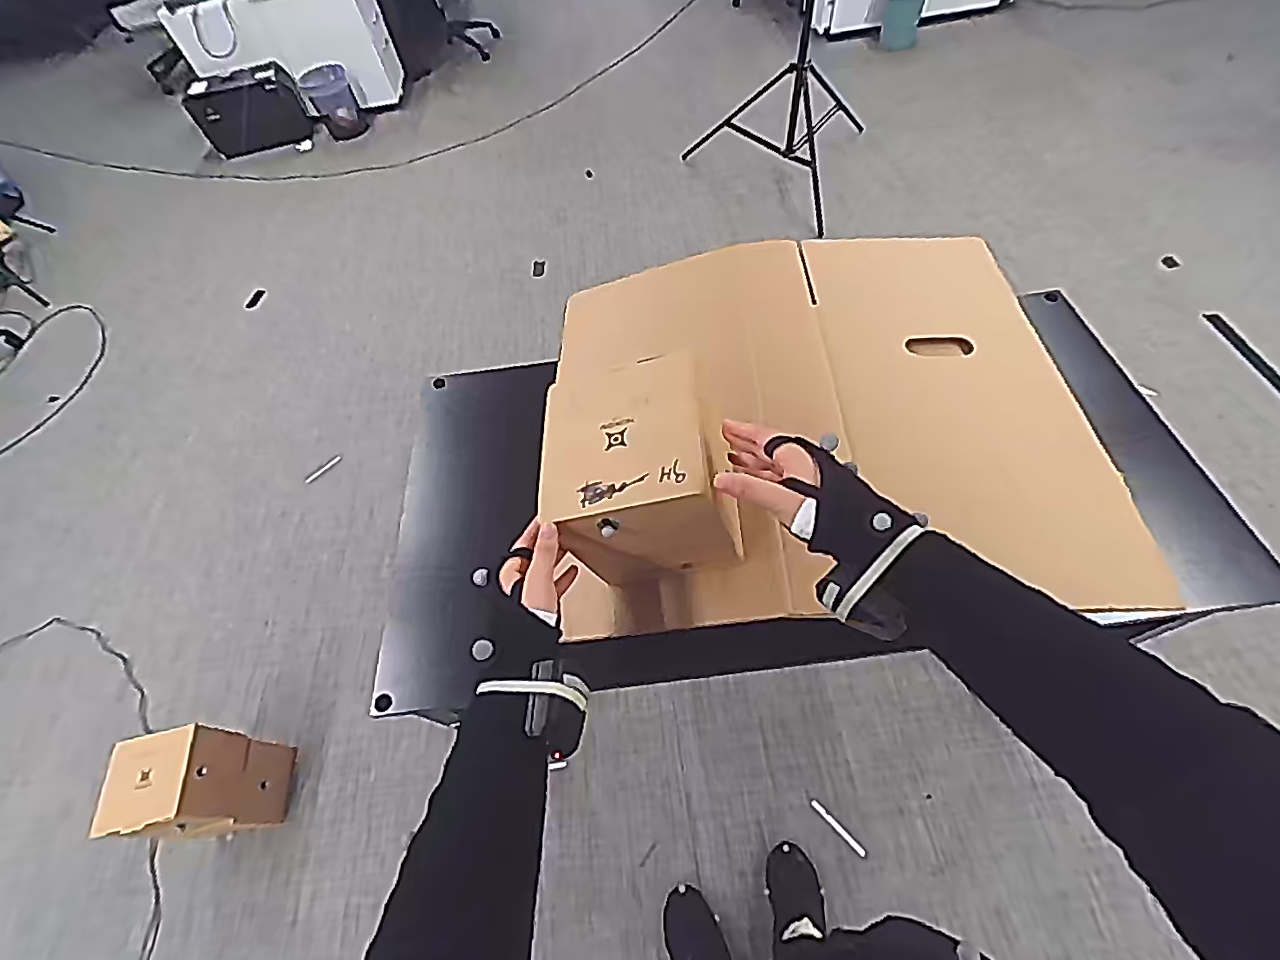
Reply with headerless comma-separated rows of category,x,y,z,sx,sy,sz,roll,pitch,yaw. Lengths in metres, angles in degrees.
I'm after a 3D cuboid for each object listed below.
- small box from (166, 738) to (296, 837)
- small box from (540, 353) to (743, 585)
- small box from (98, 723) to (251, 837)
small box,-0.957,0.734,1.287,0.168,0.176,0.179,-11,58,0
small box,0.010,-0.004,0.596,0.168,0.176,0.179,-12,55,17
small box,-0.975,0.642,1.154,0.168,0.176,0.179,-13,56,-3
